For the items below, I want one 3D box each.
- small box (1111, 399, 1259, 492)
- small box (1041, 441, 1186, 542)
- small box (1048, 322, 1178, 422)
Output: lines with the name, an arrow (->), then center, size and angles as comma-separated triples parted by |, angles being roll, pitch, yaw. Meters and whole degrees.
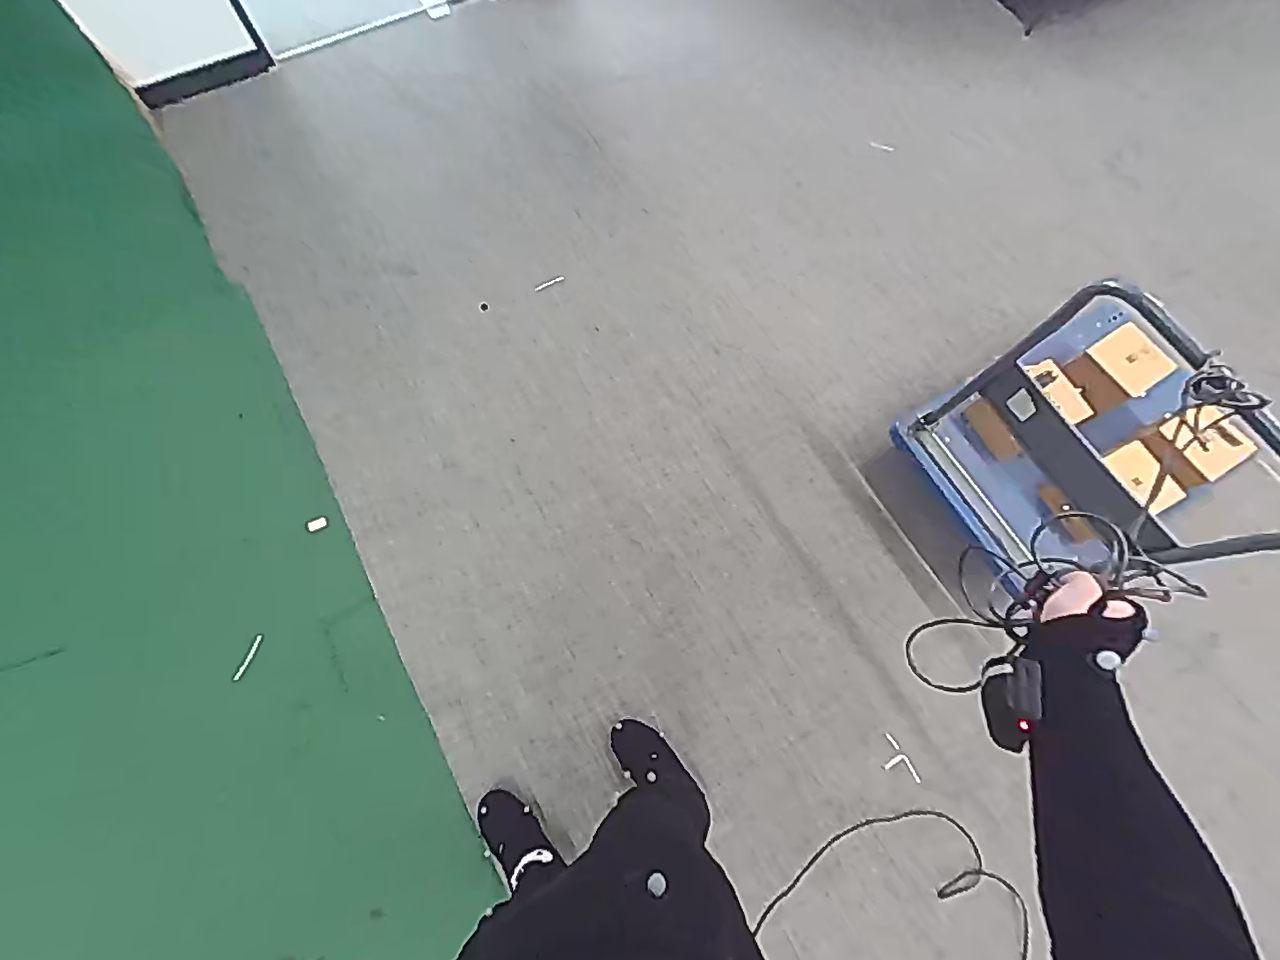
small box -> 1.384, -0.073, 1.389 | 0.179, 0.176, 0.168 | -29, 73, -10
small box -> 1.167, 0.034, 1.349 | 0.179, 0.176, 0.168 | -26, 73, -9
small box -> 1.259, -0.285, 1.460 | 0.179, 0.176, 0.168 | -31, 75, -11
